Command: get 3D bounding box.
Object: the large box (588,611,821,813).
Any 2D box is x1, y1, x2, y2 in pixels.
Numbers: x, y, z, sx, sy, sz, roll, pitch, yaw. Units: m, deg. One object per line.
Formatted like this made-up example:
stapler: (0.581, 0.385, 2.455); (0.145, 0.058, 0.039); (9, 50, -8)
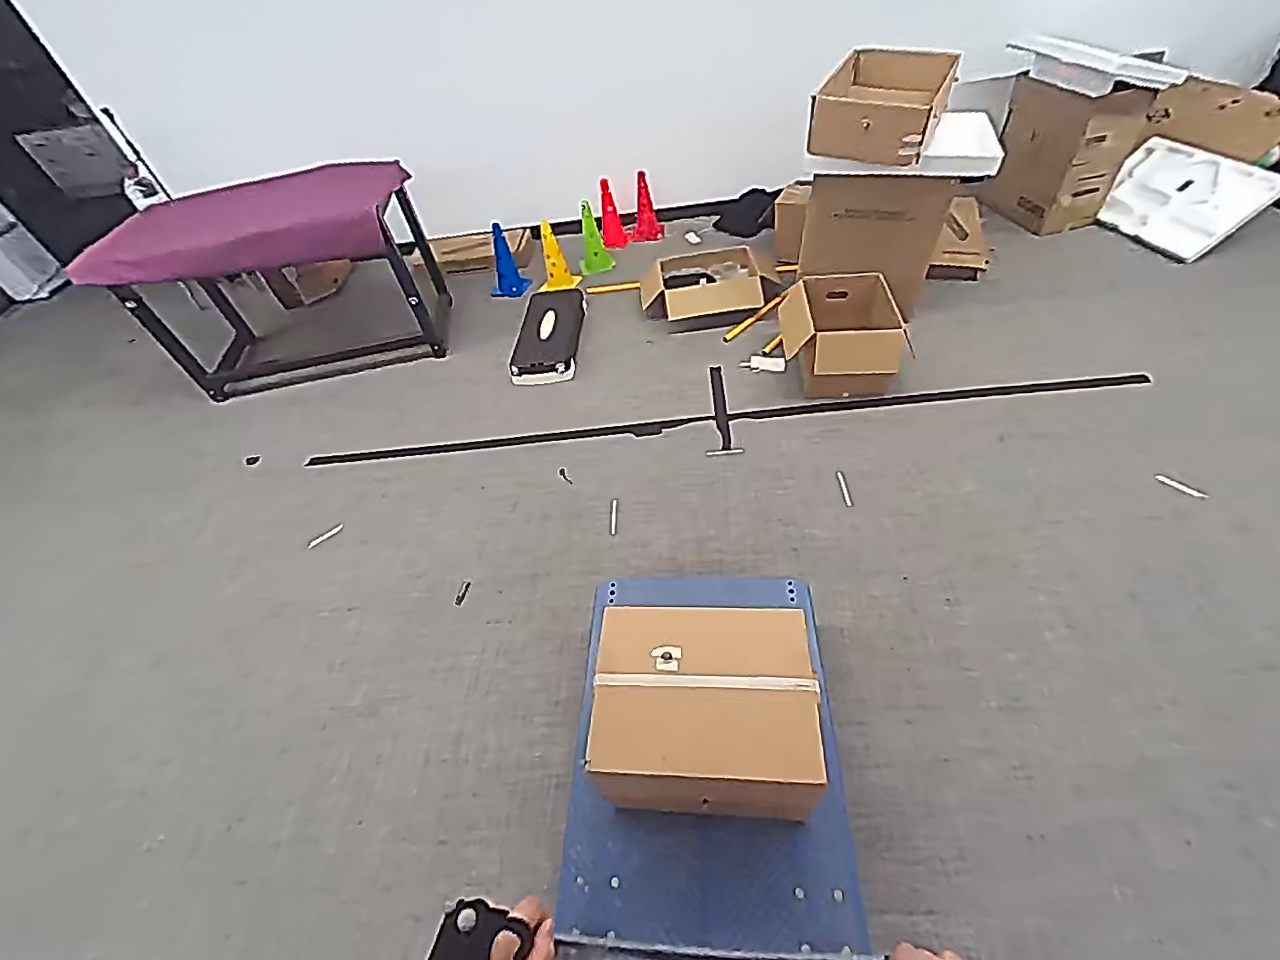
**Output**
large box: (0.135, 0.487, 1.128); (0.408, 0.320, 0.320); (-2, 47, 9)
